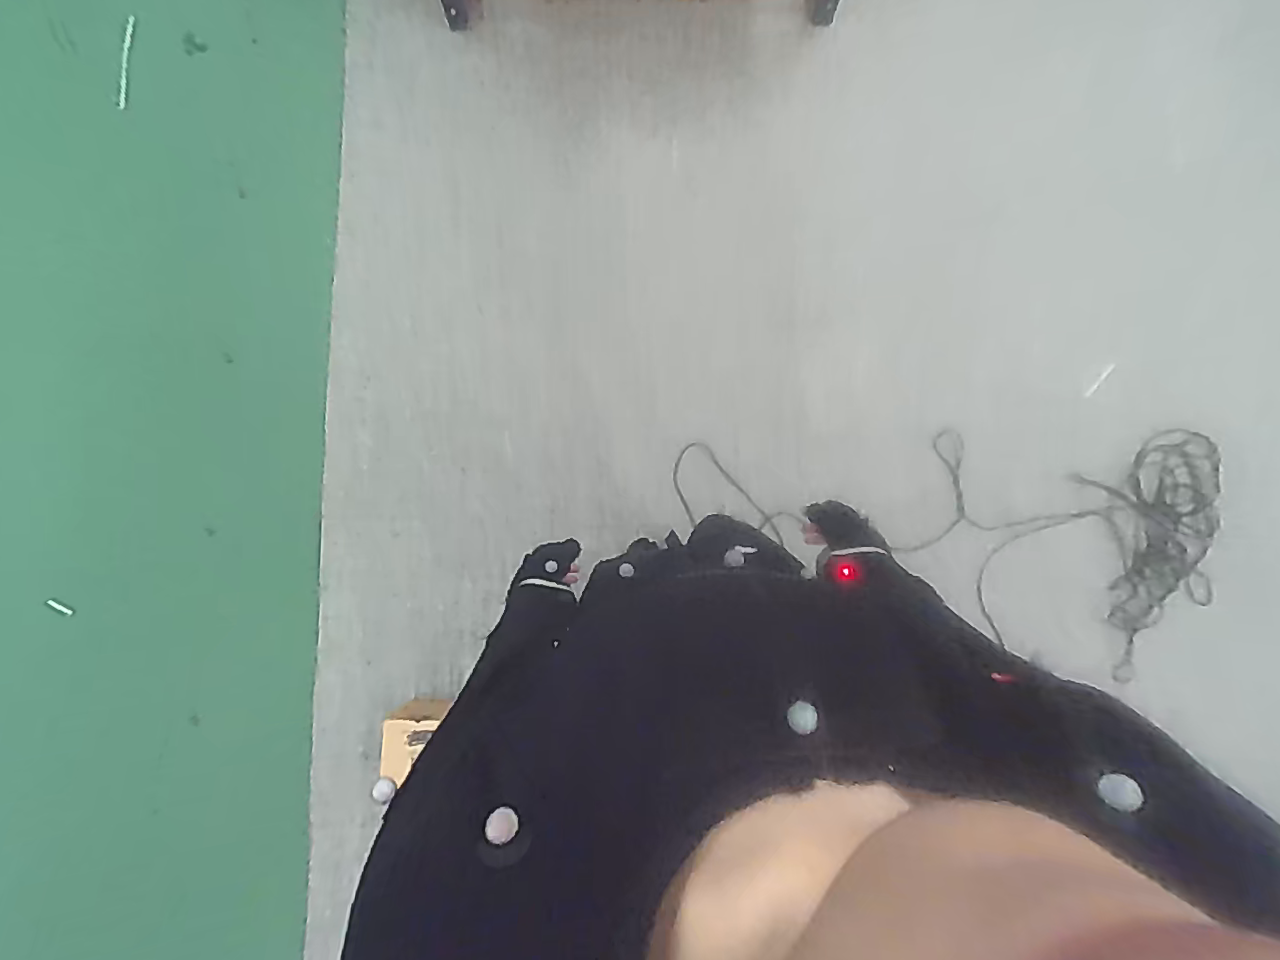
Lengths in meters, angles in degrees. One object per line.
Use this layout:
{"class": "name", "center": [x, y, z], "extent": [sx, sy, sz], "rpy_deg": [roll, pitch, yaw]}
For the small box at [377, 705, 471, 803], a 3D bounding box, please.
{"class": "small box", "center": [-0.523, 0.665, 1.331], "extent": [0.168, 0.176, 0.179], "rpy_deg": [1, 84, -1]}
